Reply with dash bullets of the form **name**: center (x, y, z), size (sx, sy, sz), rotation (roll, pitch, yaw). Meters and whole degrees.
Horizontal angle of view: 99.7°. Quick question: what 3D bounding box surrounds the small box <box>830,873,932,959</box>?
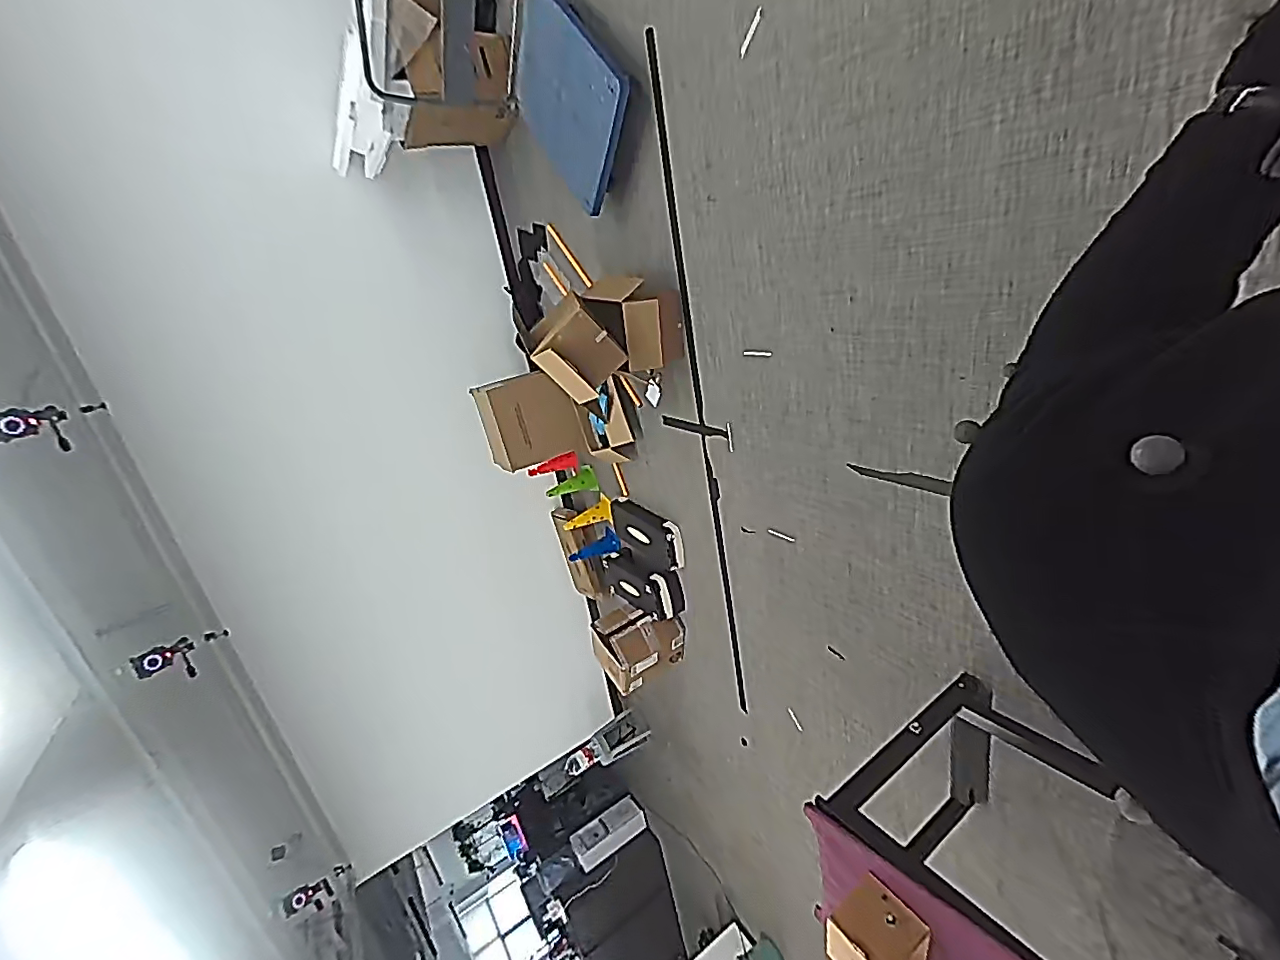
- **small box**: center (0.587, 1.127, 1.322), size (0.168, 0.176, 0.179), rotation (27, 133, 52)
